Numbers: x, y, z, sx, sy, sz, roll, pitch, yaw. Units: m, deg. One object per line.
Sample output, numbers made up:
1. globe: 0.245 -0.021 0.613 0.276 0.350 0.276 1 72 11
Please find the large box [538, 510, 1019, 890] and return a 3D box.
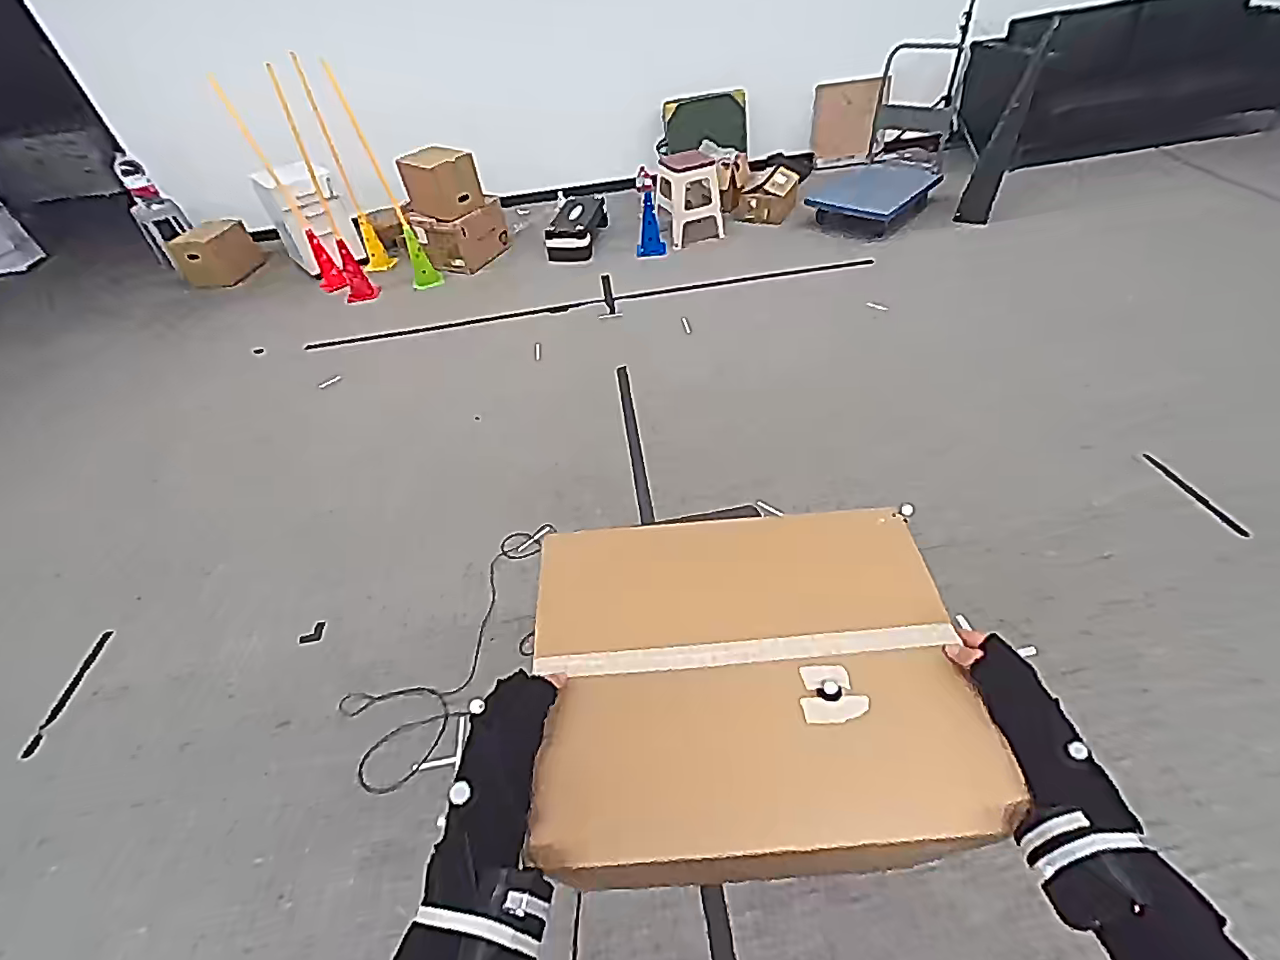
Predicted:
1. large box: 0.109 0.266 0.644 0.408 0.320 0.320 -5 50 0
